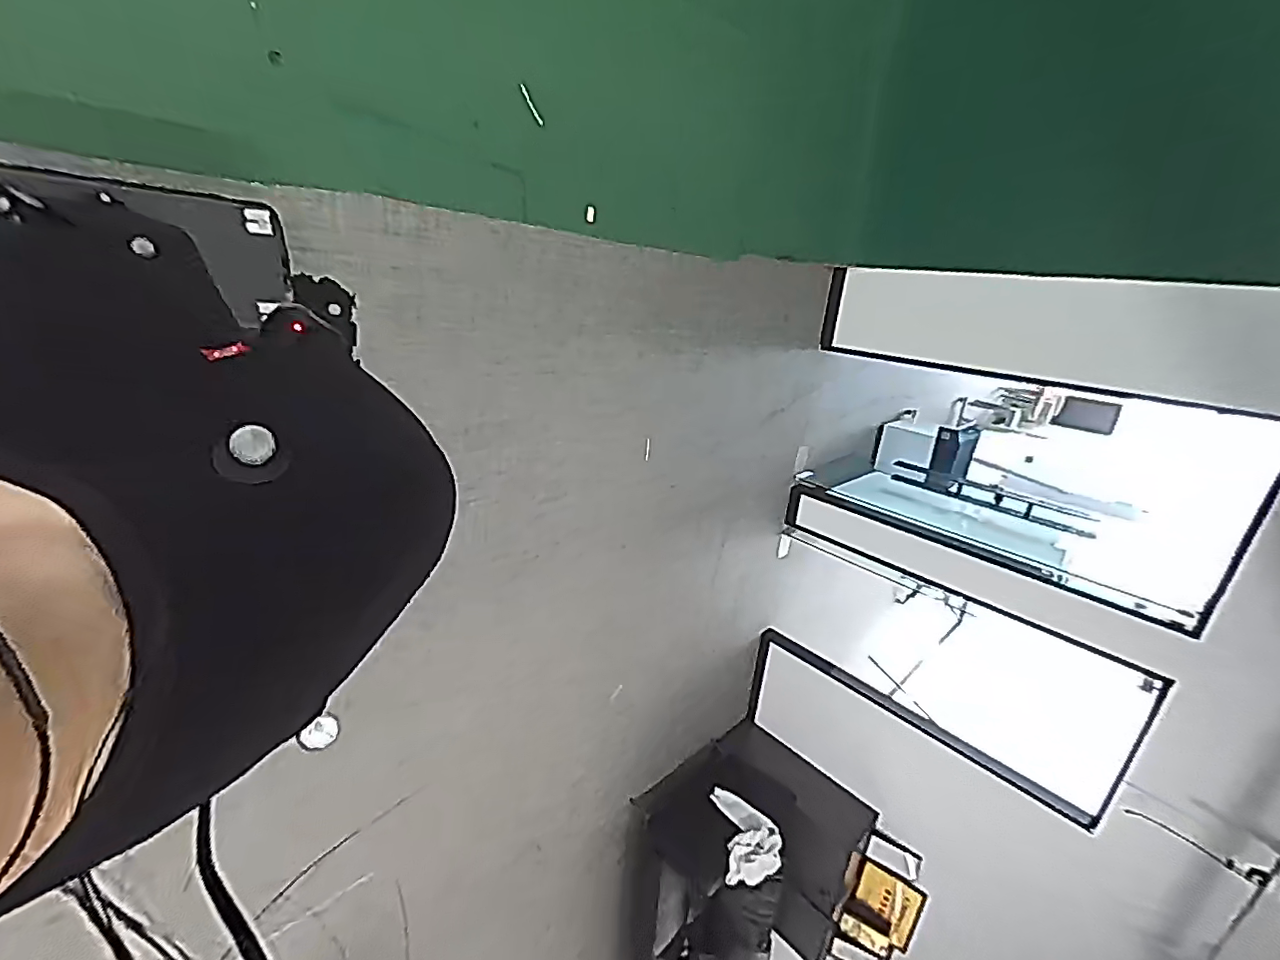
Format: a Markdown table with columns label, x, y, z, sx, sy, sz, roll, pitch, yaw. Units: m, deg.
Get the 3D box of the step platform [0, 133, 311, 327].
| label | x | y | z | sx | sy | sz | roll | pitch | yaw |
| --- | --- | --- | --- | --- | --- | --- | --- | --- | --- |
| step platform | -0.974 | -0.421 | 0.921 | 0.684 | 0.204 | 0.286 | -13 | 118 | -42 |
